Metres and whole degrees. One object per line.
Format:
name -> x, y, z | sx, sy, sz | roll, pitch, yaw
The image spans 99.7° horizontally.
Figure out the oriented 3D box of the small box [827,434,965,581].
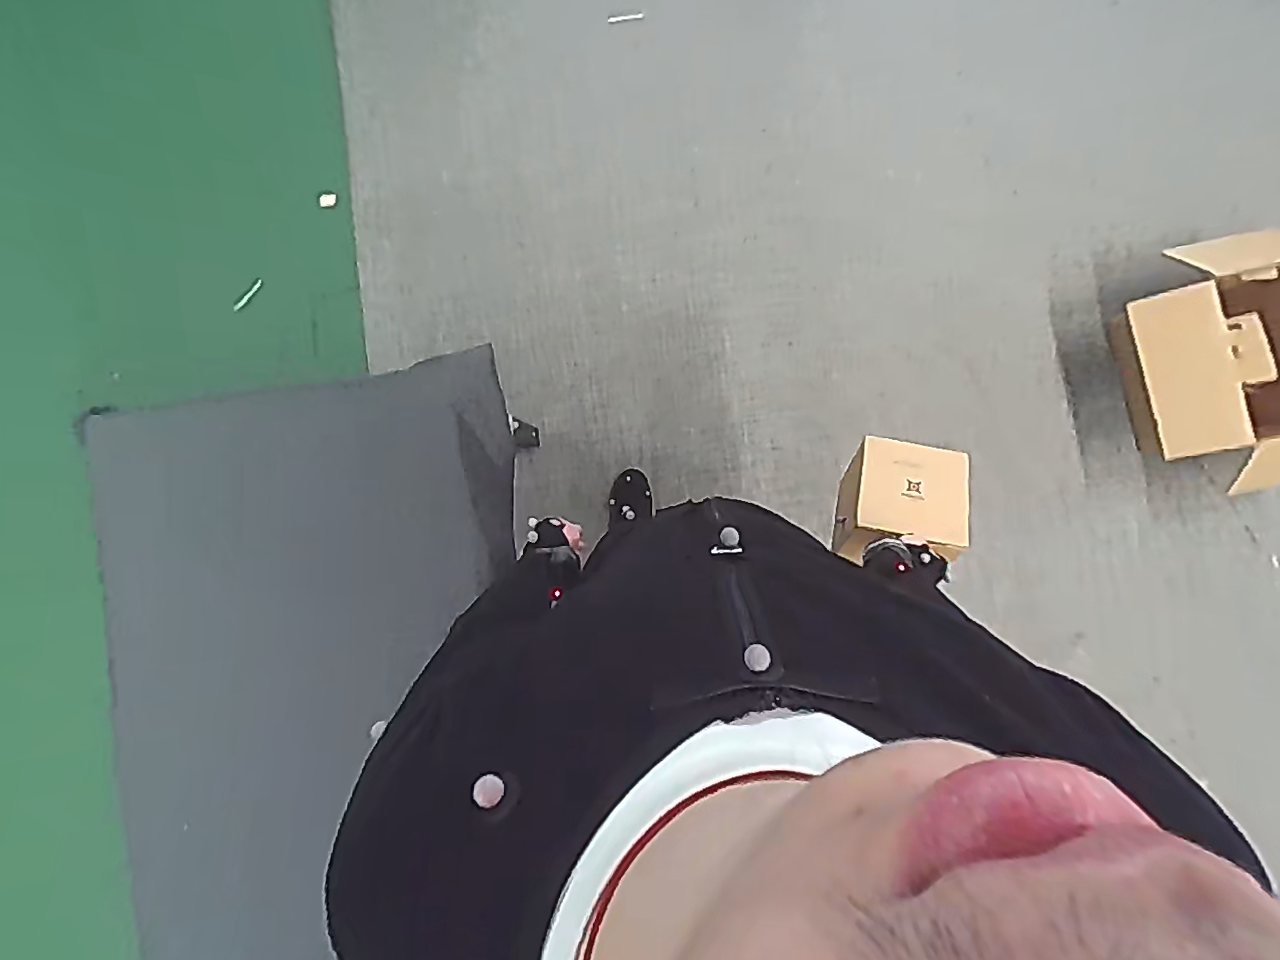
small box -> 0.428, 0.053, 0.921 | 0.168, 0.176, 0.179 | 13, 61, 8
